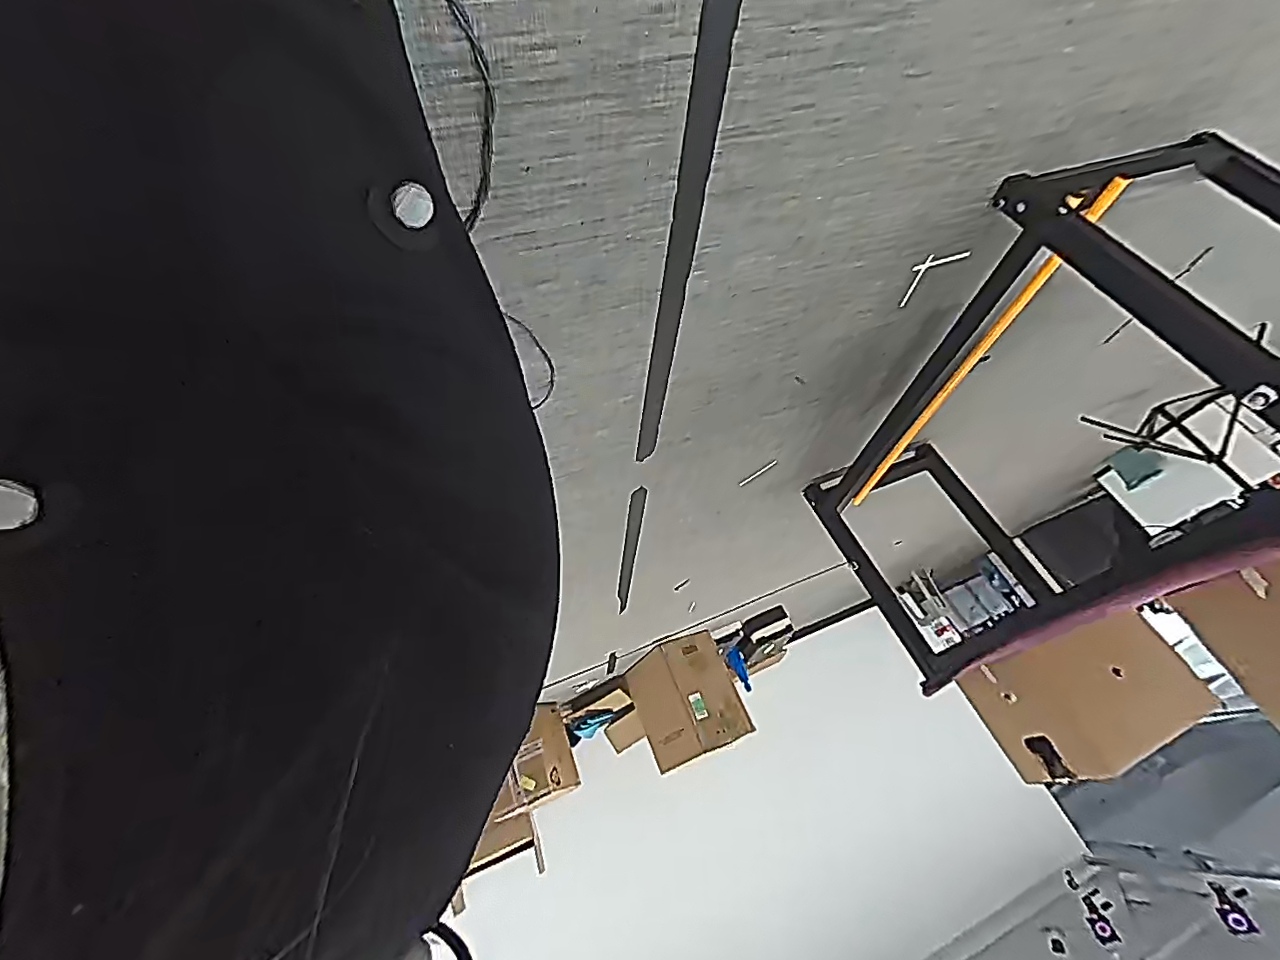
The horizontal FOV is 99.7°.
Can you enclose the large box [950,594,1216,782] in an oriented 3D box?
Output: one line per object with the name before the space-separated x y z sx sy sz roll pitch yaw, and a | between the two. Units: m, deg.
large box | 1.164 0.565 1.470 0.408 0.320 0.320 -19 152 -15
